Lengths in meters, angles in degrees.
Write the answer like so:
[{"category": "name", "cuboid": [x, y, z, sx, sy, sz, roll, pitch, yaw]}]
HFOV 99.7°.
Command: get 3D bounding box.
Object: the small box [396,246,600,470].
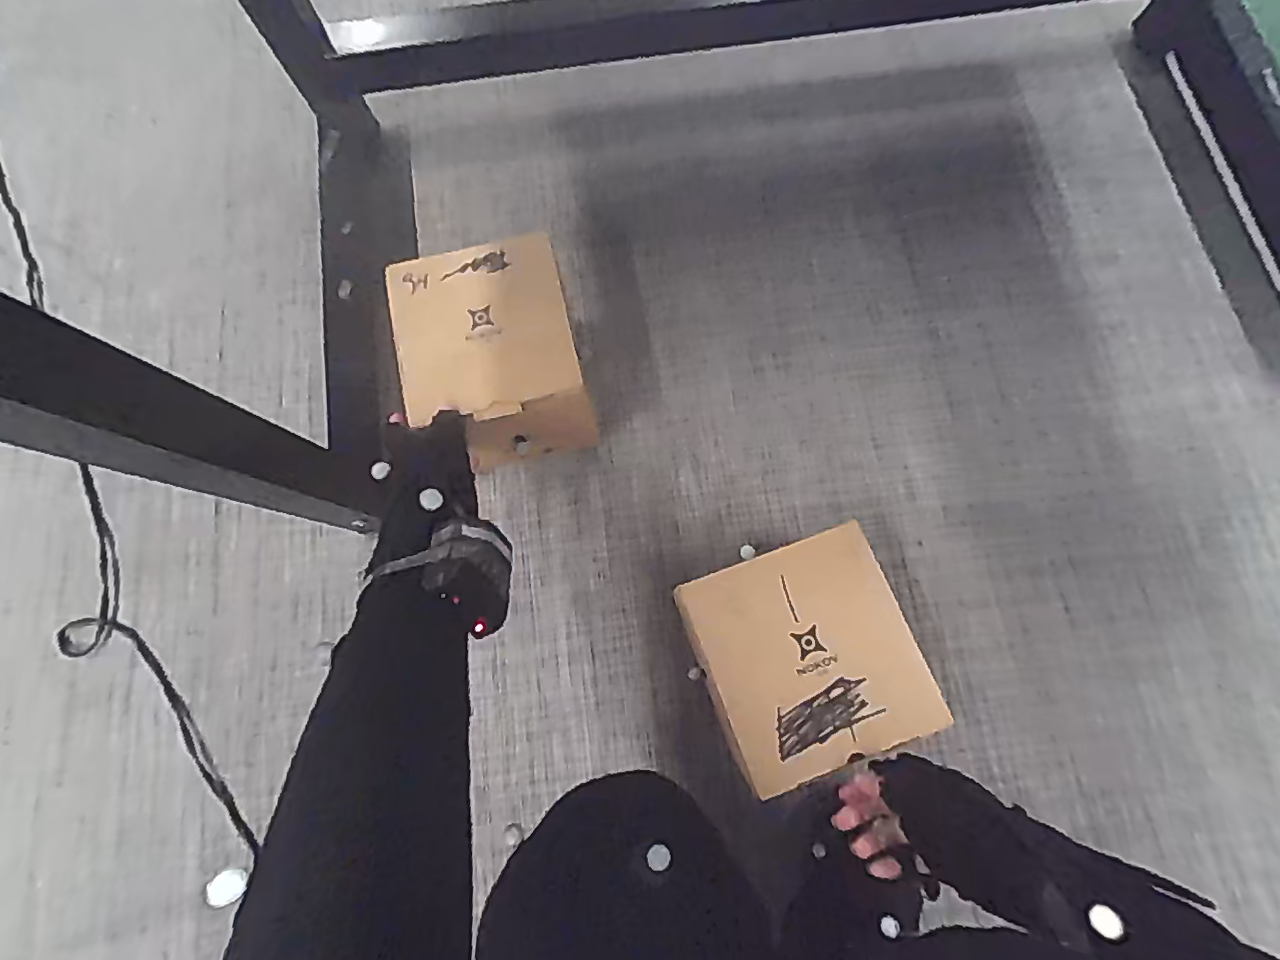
[{"category": "small box", "cuboid": [-0.143, -0.117, 0.596, 0.168, 0.176, 0.179, -12, 77, -3]}]
